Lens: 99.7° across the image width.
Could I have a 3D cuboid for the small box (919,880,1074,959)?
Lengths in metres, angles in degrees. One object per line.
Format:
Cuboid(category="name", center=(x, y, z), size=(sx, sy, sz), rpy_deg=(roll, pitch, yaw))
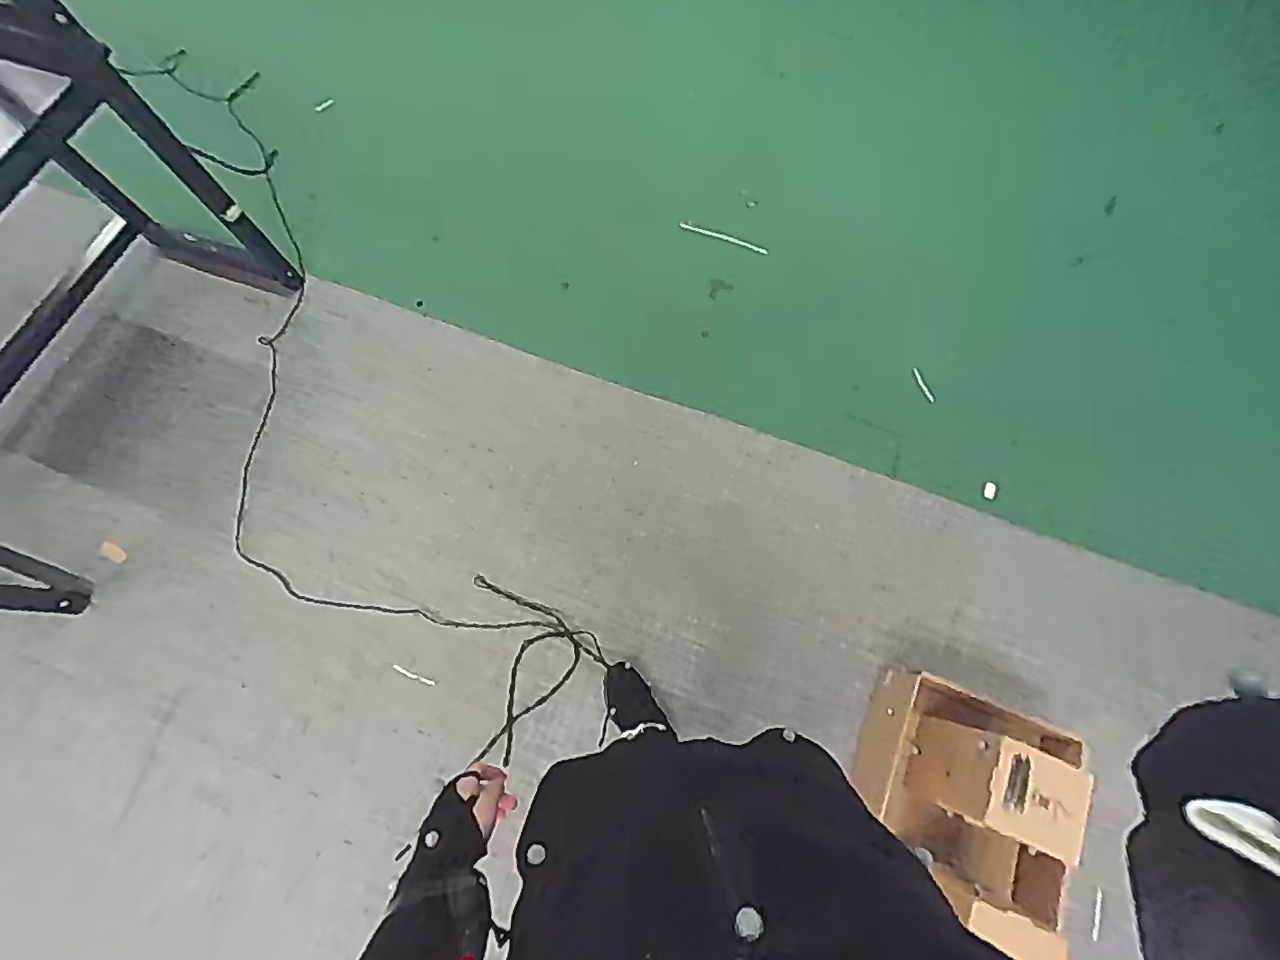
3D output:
Cuboid(category="small box", center=(0.640, 0.882, 0.988), size=(0.168, 0.176, 0.179), rpy_deg=(20, 73, 8))
